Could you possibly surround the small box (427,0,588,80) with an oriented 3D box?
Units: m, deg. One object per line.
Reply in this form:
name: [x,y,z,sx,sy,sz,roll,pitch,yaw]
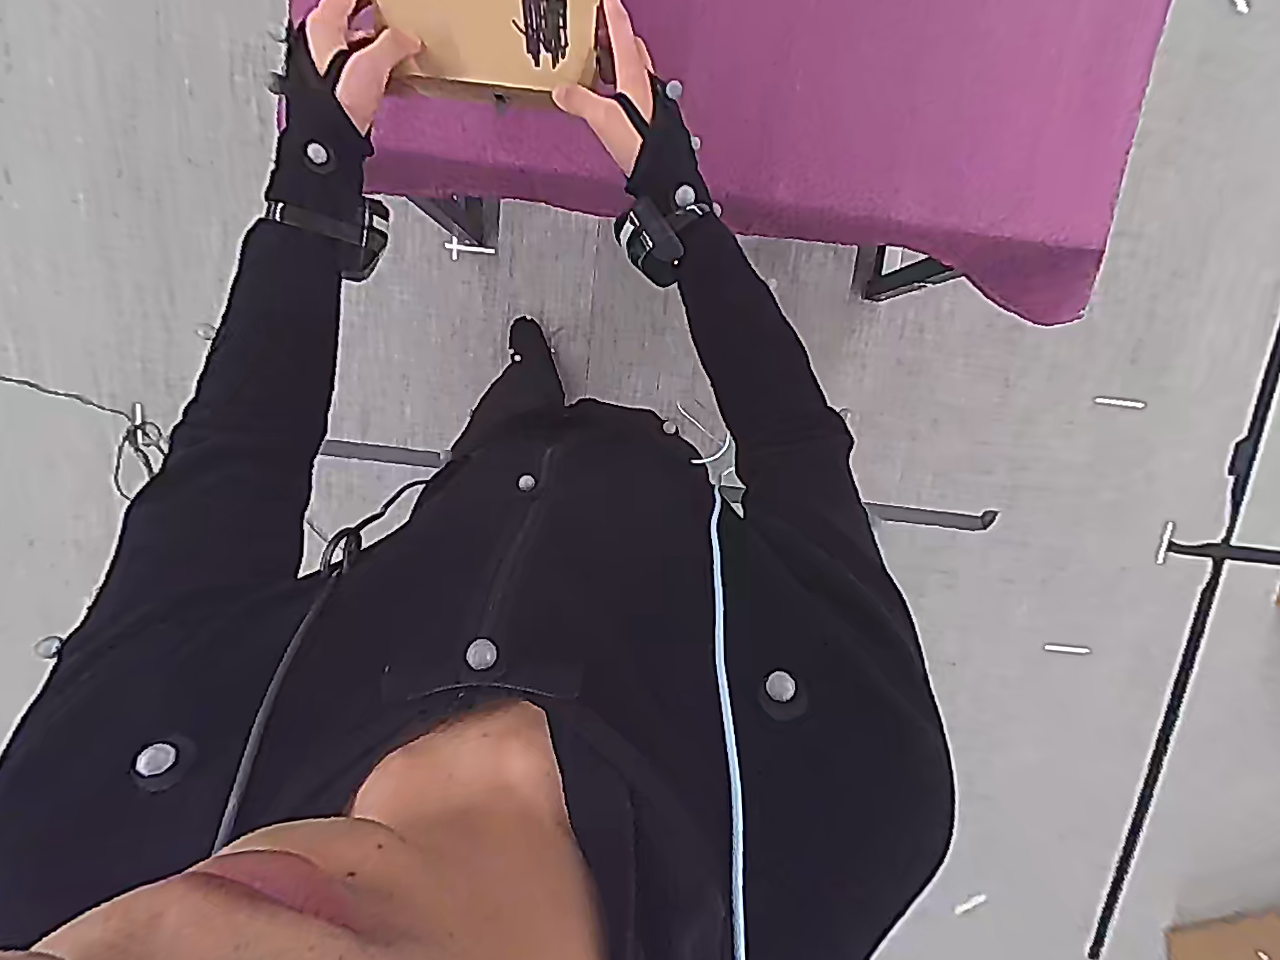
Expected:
small box: [-0.153,-0.633,0.665,0.179,0.176,0.168,8,100,-4]
